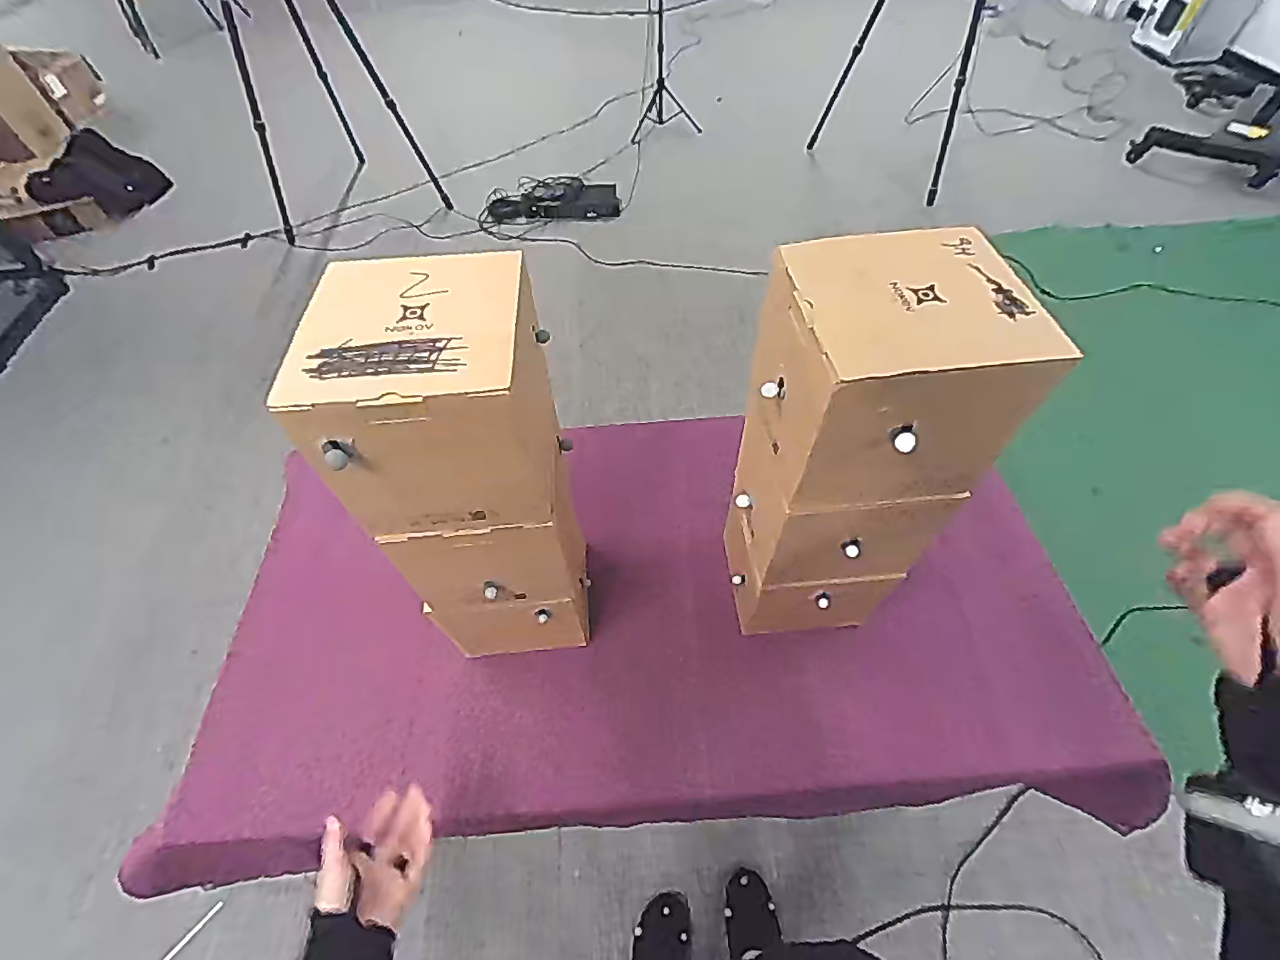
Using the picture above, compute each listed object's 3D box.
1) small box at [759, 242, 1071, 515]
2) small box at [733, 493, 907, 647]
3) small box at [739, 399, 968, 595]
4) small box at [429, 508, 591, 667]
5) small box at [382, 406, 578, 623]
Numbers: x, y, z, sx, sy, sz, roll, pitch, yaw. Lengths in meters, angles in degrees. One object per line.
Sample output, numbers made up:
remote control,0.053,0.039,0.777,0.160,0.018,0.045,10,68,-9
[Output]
small box,0.211,-0.082,0.482,0.179,0.176,0.168,-7,54,-1
small box,0.227,0.119,0.743,0.179,0.176,0.168,-6,54,0
small box,0.219,0.017,0.612,0.179,0.176,0.168,-6,54,0
small box,-0.165,0.145,0.741,0.179,0.176,0.168,-6,53,-3
small box,-0.163,0.041,0.612,0.168,0.176,0.179,-6,53,-2
